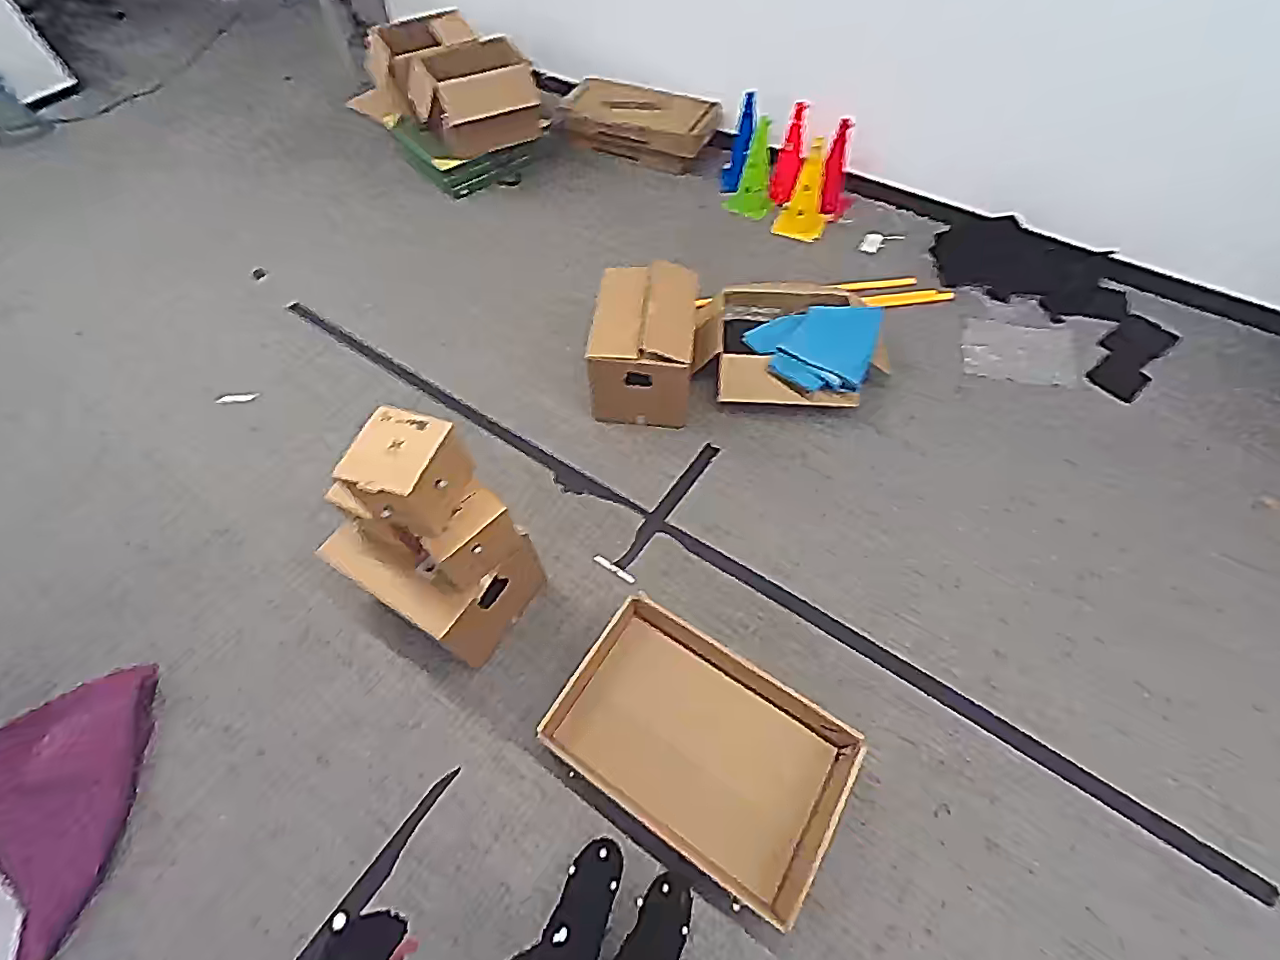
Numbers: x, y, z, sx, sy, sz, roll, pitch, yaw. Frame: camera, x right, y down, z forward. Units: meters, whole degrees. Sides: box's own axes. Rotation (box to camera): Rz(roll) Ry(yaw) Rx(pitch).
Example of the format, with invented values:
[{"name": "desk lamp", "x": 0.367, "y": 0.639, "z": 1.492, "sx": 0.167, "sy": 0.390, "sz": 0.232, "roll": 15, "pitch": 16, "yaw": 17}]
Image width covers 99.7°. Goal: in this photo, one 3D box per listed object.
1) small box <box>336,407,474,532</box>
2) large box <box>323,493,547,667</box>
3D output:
[{"name": "small box", "x": -0.463, "y": -0.016, "z": 1.100, "sx": 0.168, "sy": 0.176, "sz": 0.179, "roll": 15, "pitch": 61, "yaw": 10}, {"name": "large box", "x": -0.512, "y": 0.229, "z": 1.428, "sx": 0.408, "sy": 0.320, "sz": 0.320, "roll": 27, "pitch": 64, "yaw": 16}]
